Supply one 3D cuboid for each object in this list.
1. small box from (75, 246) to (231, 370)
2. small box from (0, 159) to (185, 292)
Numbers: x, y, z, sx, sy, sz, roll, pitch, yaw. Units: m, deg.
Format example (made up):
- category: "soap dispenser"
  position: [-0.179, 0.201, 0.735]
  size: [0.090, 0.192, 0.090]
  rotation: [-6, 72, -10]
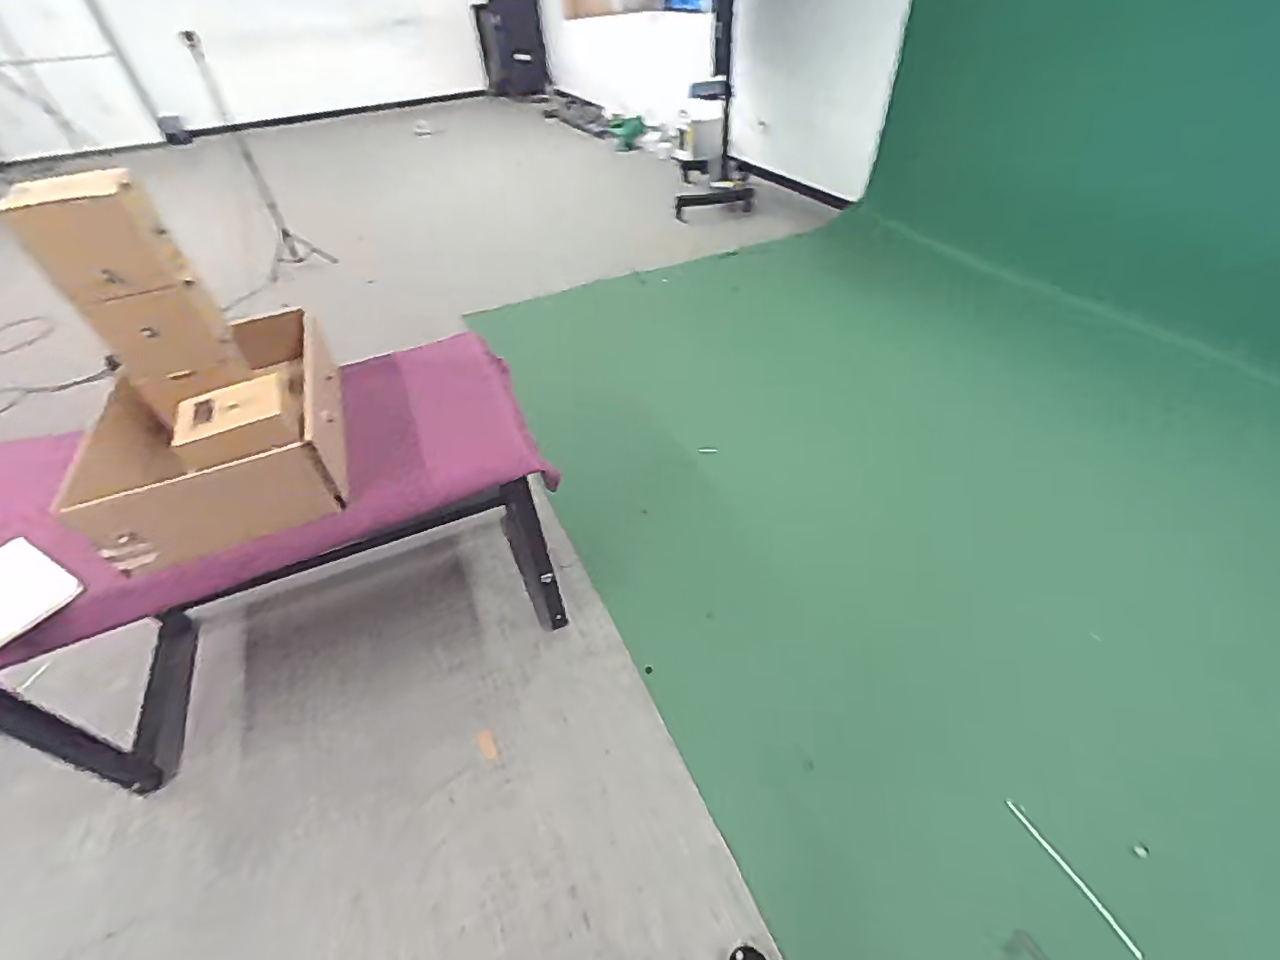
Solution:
- category: "small box"
  position: [-0.986, -0.354, 1.117]
  size: [0.179, 0.176, 0.168]
  rotation: [-21, 48, -17]
- category: "small box"
  position: [-0.995, -0.471, 1.002]
  size: [0.179, 0.176, 0.168]
  rotation: [-18, 47, -16]
